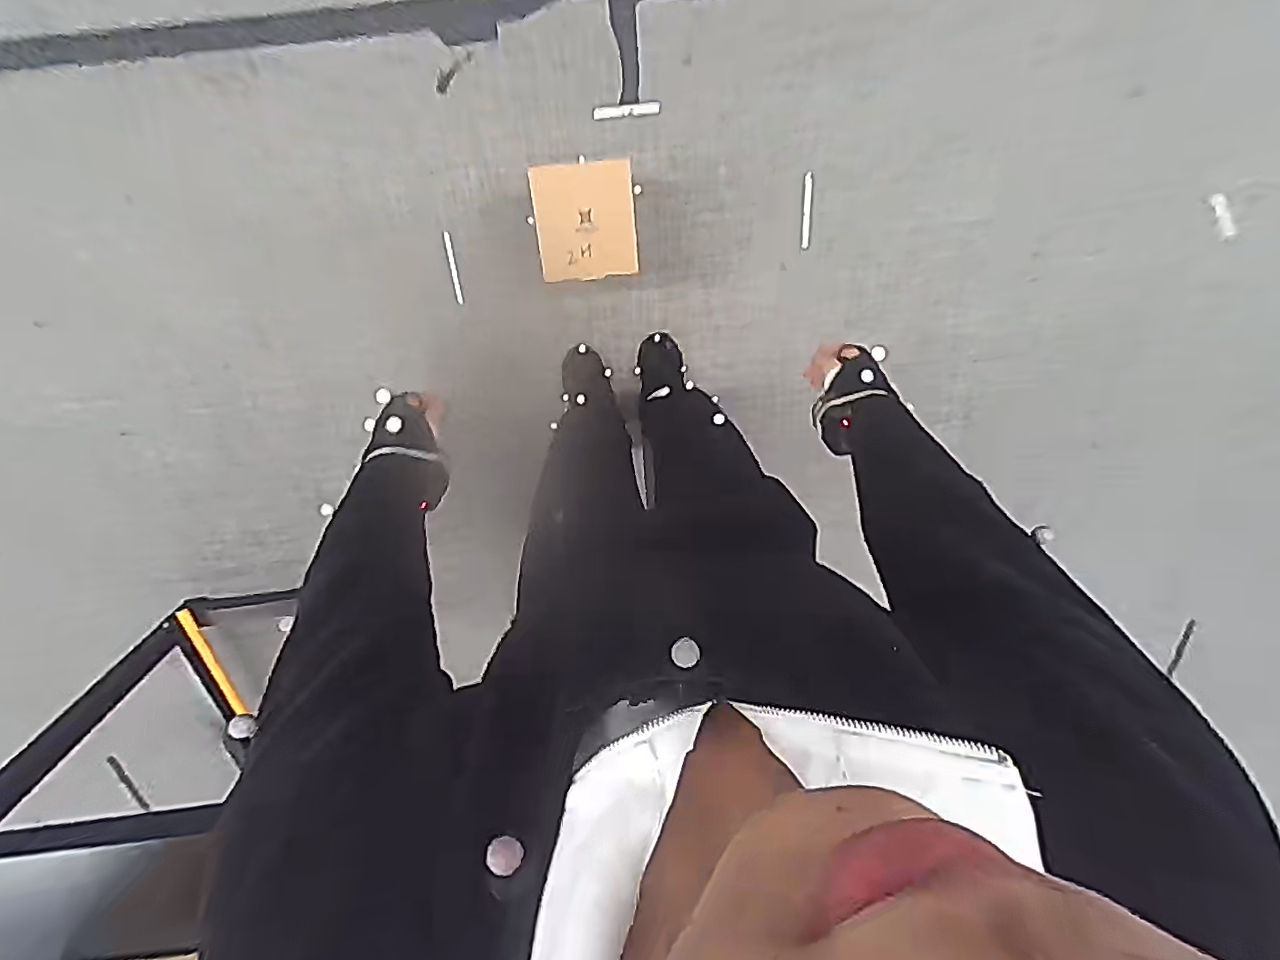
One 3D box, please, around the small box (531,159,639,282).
[{"bbox_3d":[-0.095,-0.458,0.962,0.168,0.176,0.179,-6,117,-2],"label":"small box"}]
